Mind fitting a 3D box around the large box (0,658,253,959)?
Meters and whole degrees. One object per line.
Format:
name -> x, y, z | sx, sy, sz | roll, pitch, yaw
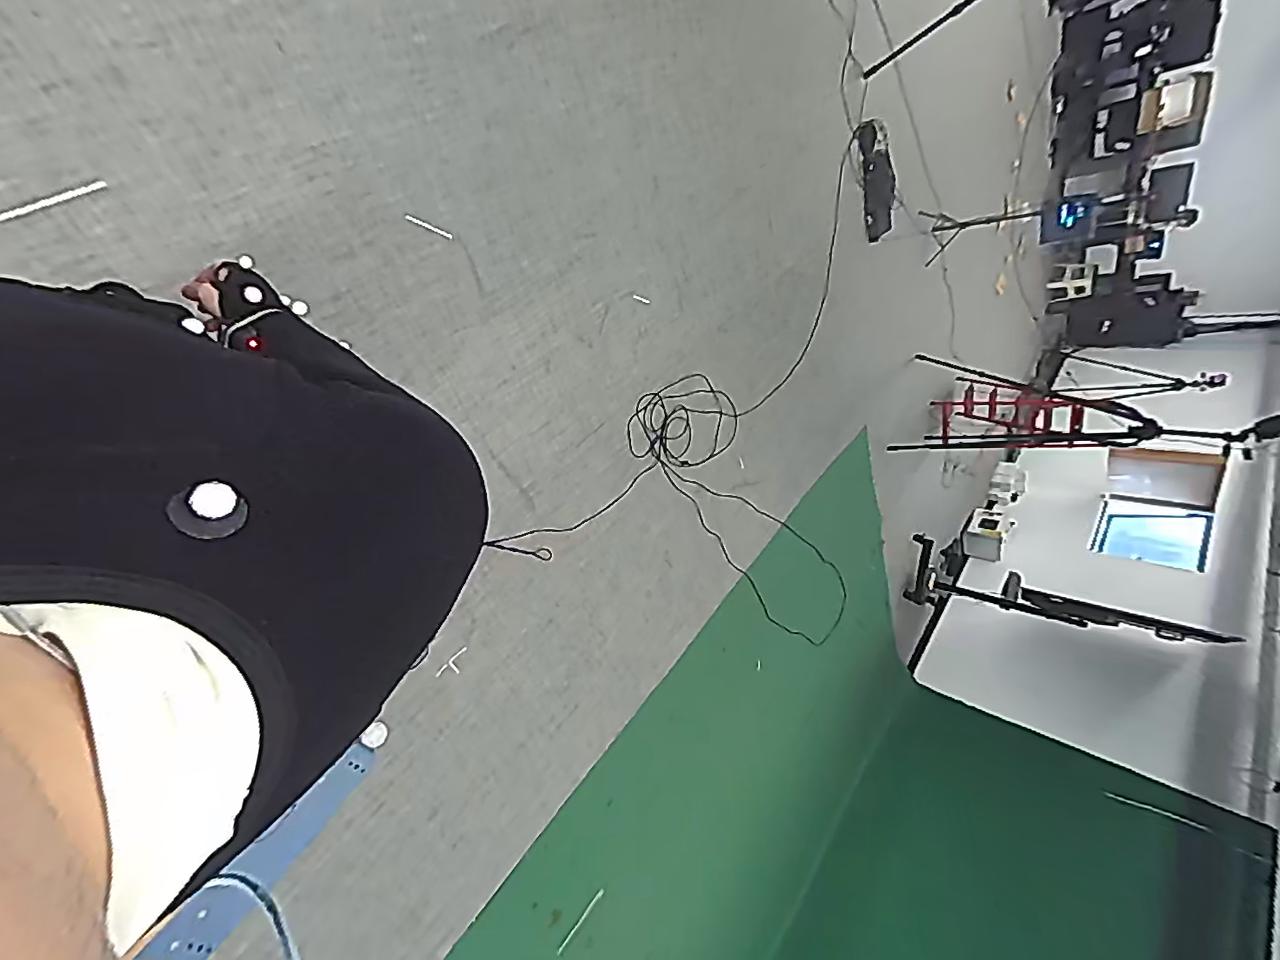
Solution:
large box -> -1.056, 0.606, 1.011 | 0.320, 0.320, 0.408 | -50, 131, -26
